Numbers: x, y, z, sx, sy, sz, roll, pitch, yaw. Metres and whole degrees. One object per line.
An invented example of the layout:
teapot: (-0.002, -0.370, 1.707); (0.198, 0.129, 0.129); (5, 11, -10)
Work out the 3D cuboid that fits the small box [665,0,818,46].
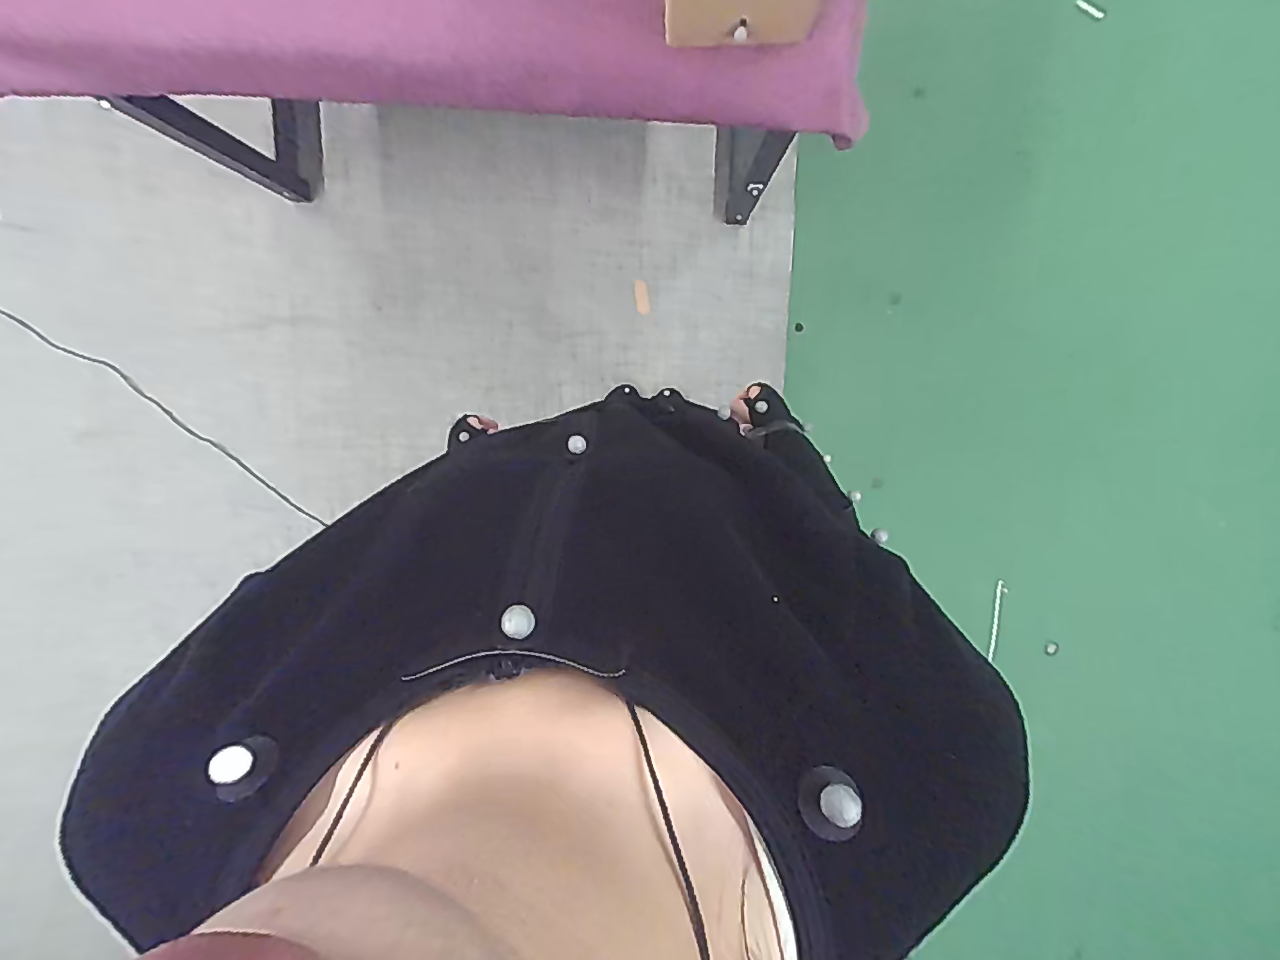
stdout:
small box: (0.117, -0.613, 0.587); (0.179, 0.176, 0.168); (-1, 99, 1)
